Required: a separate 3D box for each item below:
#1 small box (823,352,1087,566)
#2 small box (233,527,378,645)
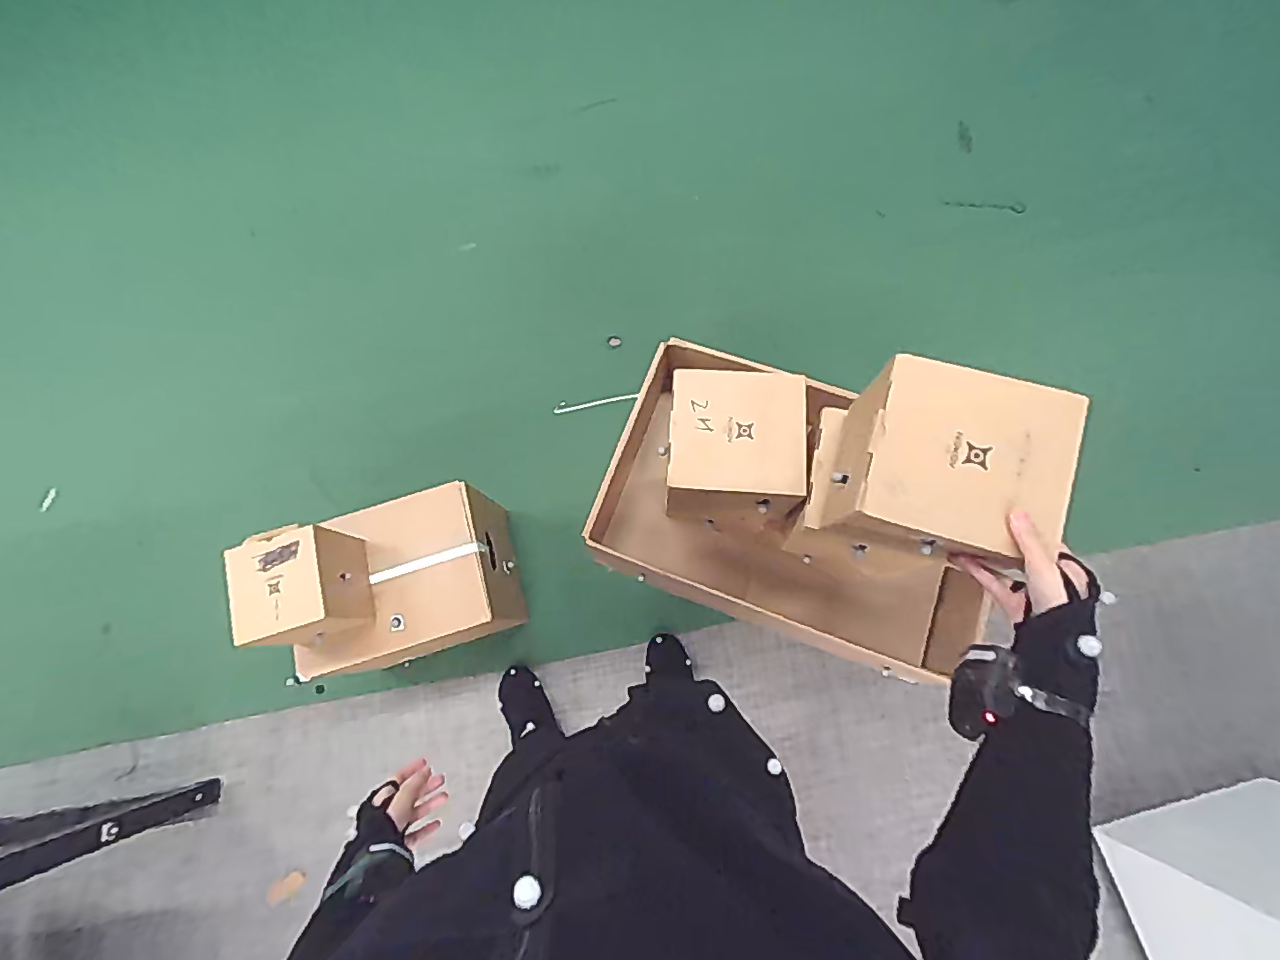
[{"bbox_3d":[0.312,-0.009,0.576,0.179,0.176,0.168,17,82,9],"label":"small box"},{"bbox_3d":[-0.631,0.208,1.033,0.168,0.176,0.179,-17,74,-1],"label":"small box"}]
